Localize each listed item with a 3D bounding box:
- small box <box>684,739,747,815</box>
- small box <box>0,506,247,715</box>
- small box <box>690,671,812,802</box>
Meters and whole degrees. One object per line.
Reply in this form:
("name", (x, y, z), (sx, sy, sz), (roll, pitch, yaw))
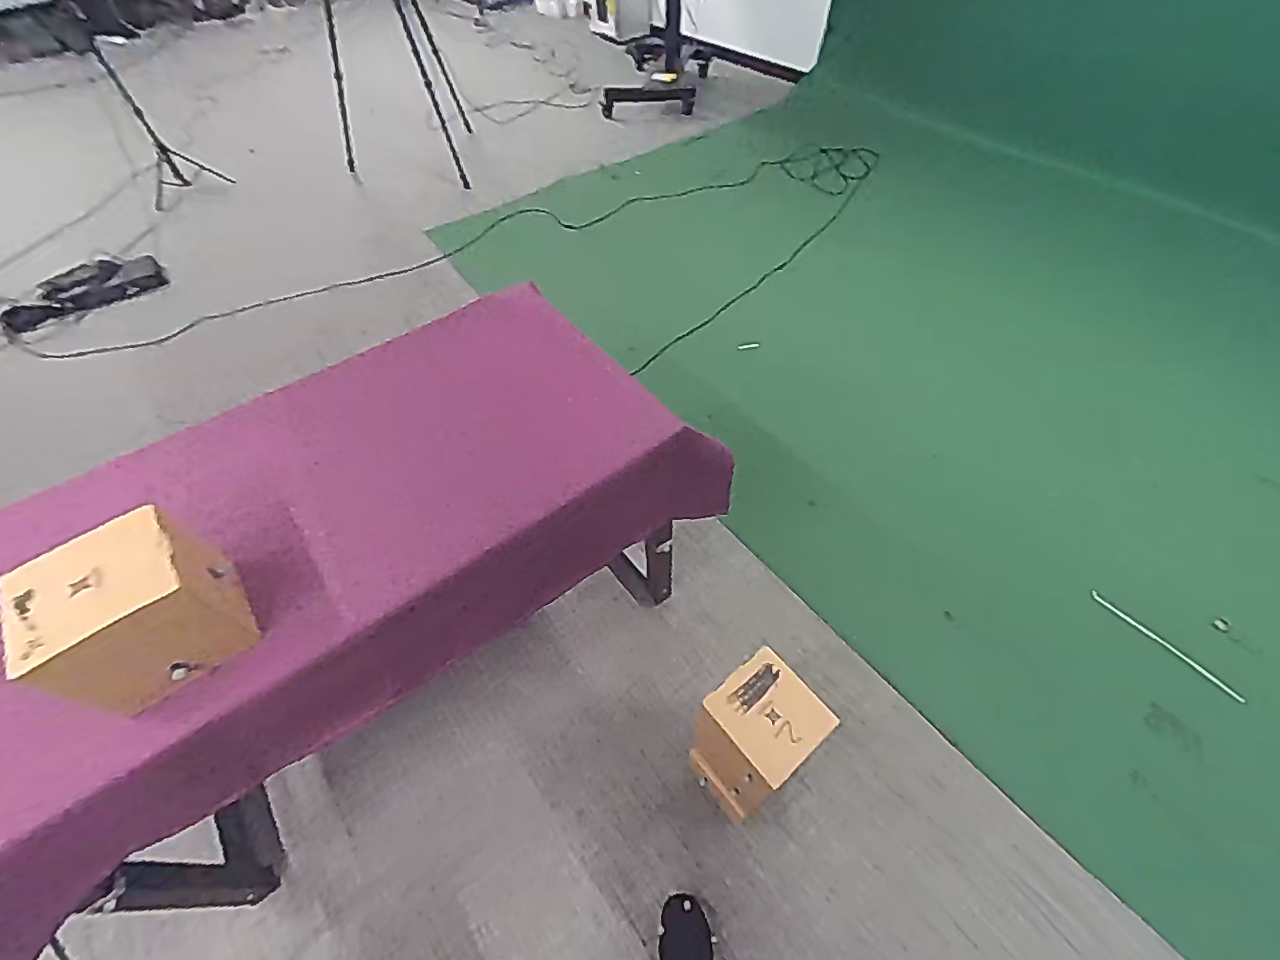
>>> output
("small box", (0.218, 0.640, 1.251), (0.179, 0.176, 0.168), (-34, 60, -22))
("small box", (-0.663, 0.174, 0.716), (0.179, 0.176, 0.168), (-34, 59, -22))
("small box", (0.221, 0.538, 1.124), (0.168, 0.176, 0.179), (-31, 58, -22))
